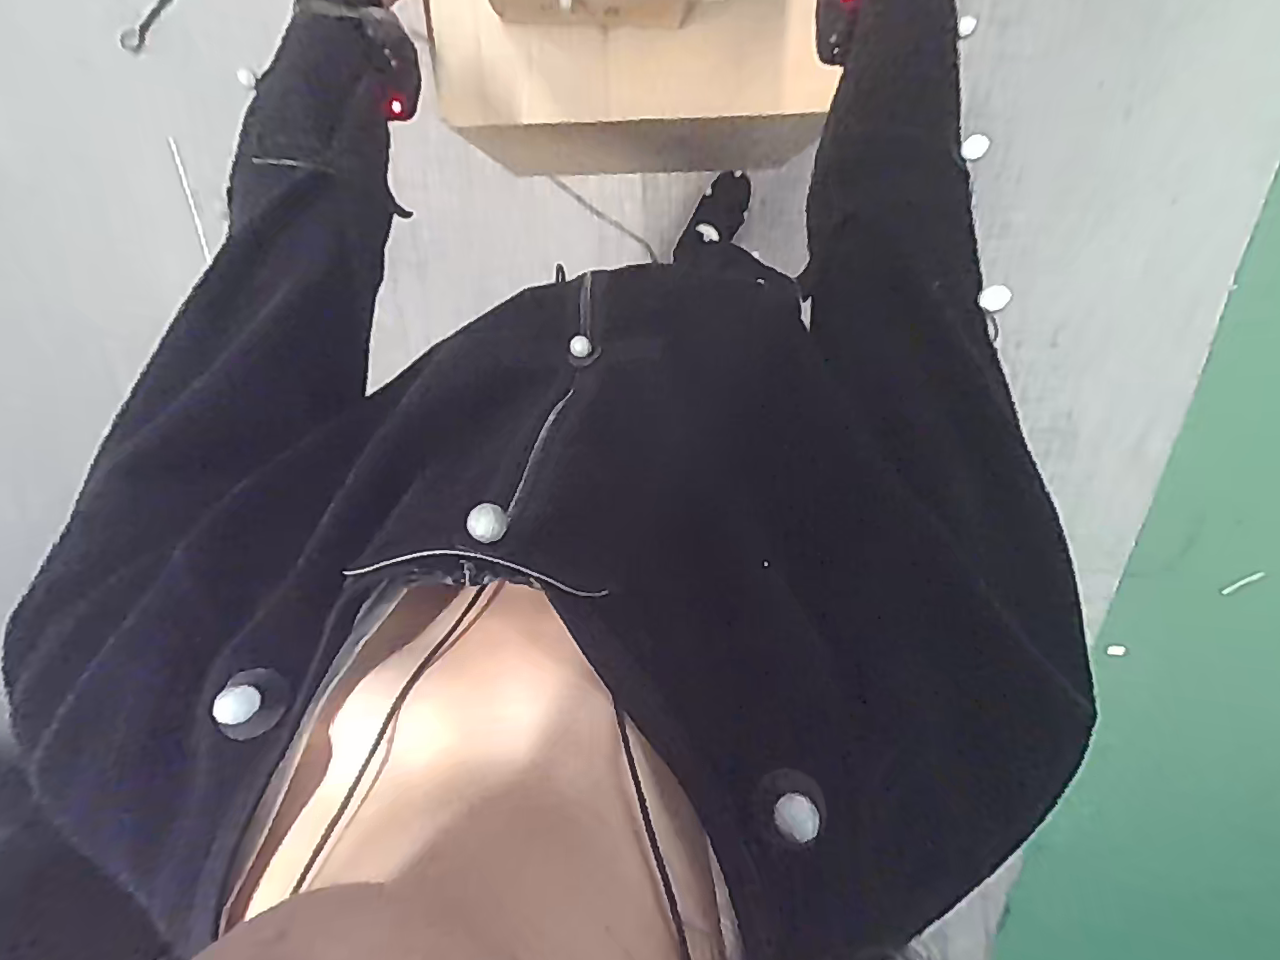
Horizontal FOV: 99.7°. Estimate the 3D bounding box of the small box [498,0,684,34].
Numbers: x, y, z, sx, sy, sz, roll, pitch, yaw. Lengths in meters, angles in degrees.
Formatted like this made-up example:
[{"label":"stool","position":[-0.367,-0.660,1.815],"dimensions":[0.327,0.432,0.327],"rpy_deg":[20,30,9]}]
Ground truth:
[{"label":"small box","position":[-0.042,-0.457,0.376],"dimensions":[0.168,0.176,0.179],"rpy_deg":[2,110,0]}]
